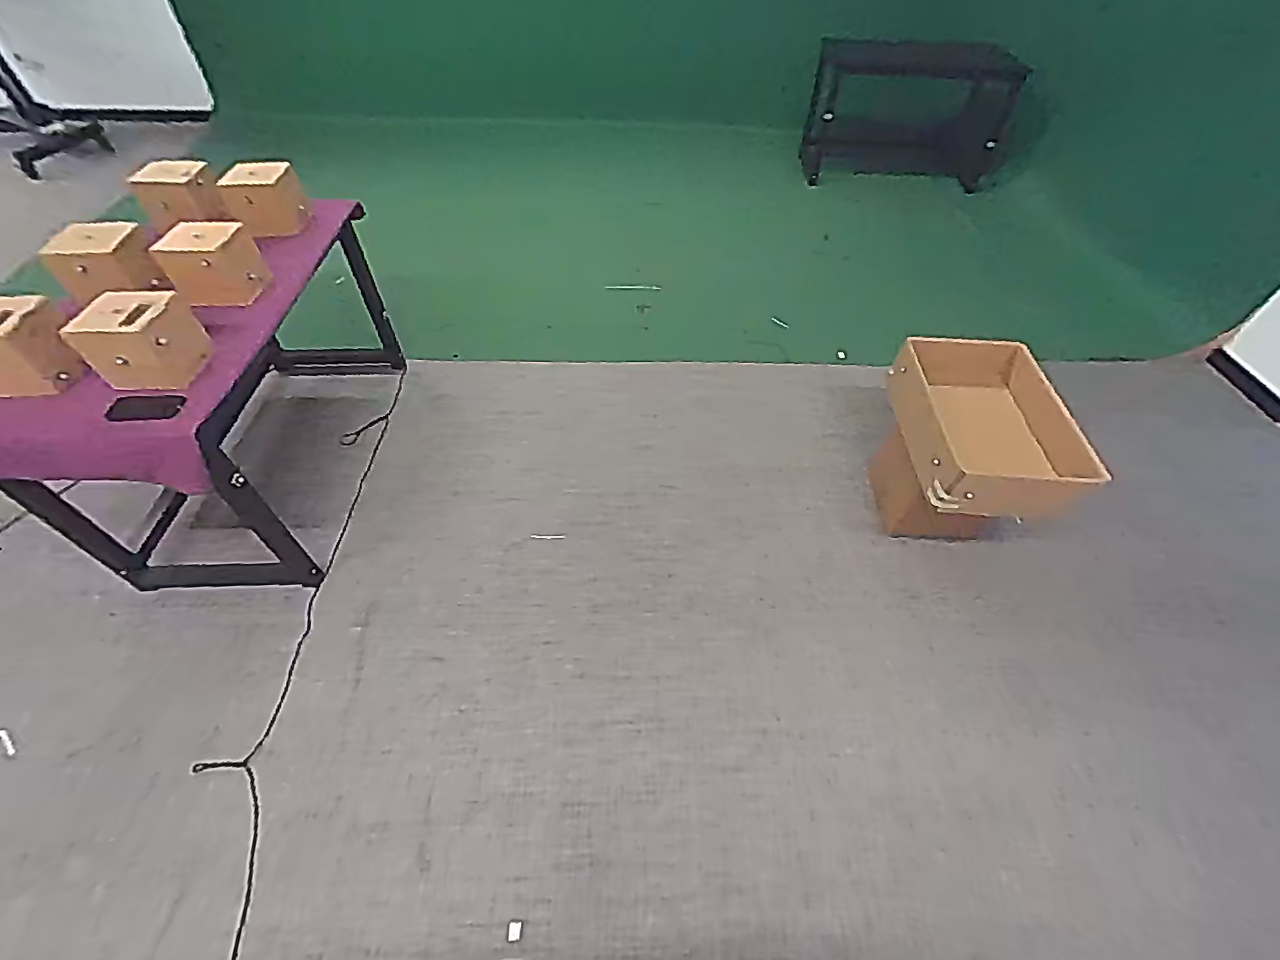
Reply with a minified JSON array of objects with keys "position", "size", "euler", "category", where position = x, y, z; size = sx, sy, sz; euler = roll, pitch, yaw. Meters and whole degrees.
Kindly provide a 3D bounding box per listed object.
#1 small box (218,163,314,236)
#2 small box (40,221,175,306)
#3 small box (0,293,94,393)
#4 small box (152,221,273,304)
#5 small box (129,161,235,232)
[{"position":[-1.228,-0.928,1.790],"size":[0.179,0.176,0.168],"euler":[-2,51,-2],"category":"small box"},{"position":[-1.477,-0.603,1.514],"size":[0.179,0.176,0.168],"euler":[-2,51,-5],"category":"small box"},{"position":[-1.472,-0.320,1.274],"size":[0.179,0.176,0.168],"euler":[-4,50,-4],"category":"small box"},{"position":[-1.199,-0.614,1.533],"size":[0.179,0.176,0.168],"euler":[0,50,-1],"category":"small box"},{"position":[-1.502,-0.933,1.788],"size":[0.179,0.176,0.168],"euler":[-2,51,-3],"category":"small box"}]
